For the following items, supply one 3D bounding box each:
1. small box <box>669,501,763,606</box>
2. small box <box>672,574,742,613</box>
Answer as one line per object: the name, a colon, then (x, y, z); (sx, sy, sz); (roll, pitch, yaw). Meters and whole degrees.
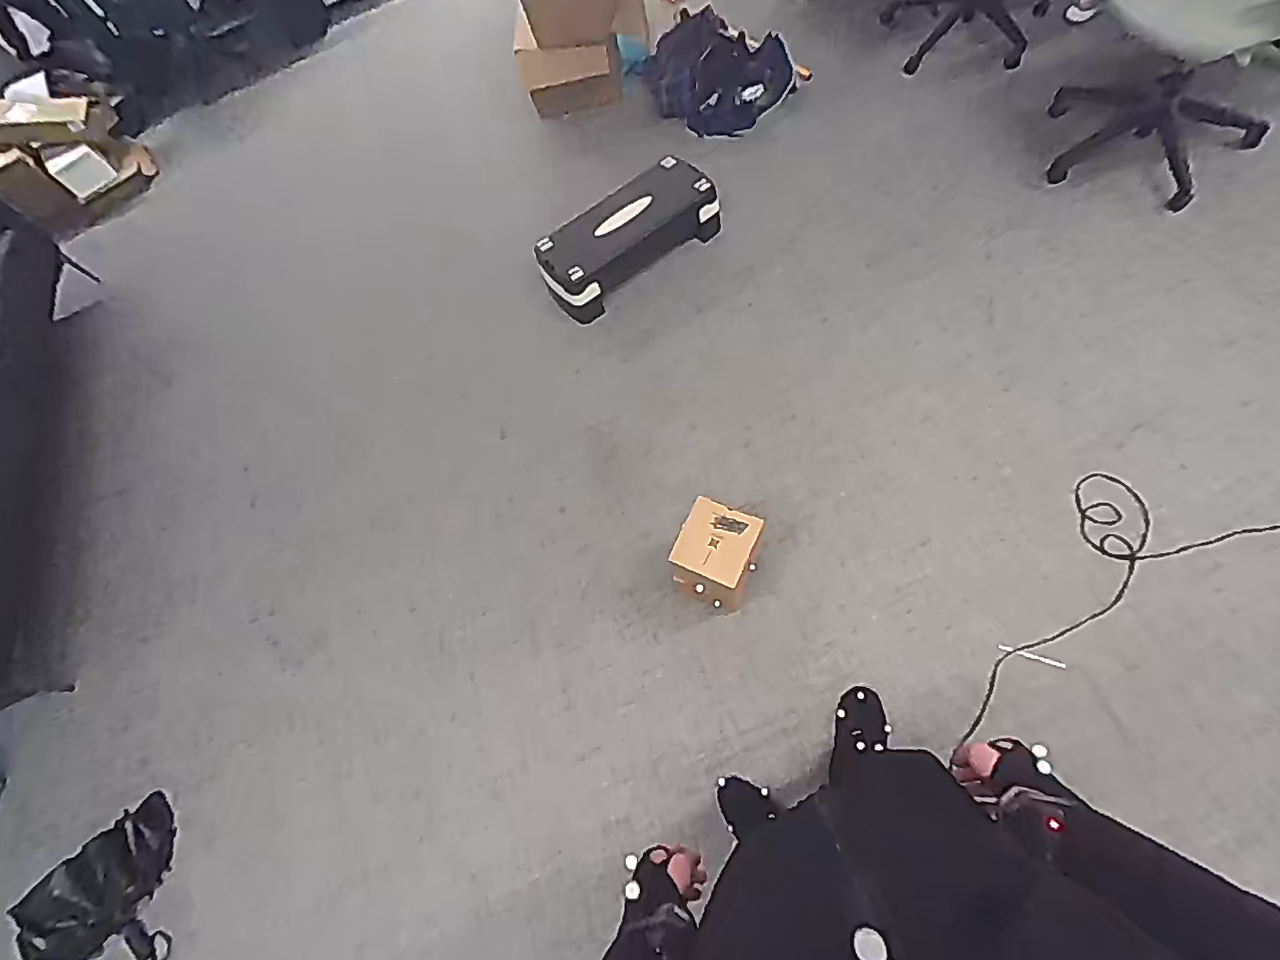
small box: (0.185, 0.181, 1.305); (0.168, 0.176, 0.179); (22, 72, 20)
small box: (0.198, 0.244, 1.457); (0.168, 0.176, 0.179); (14, 68, 17)
